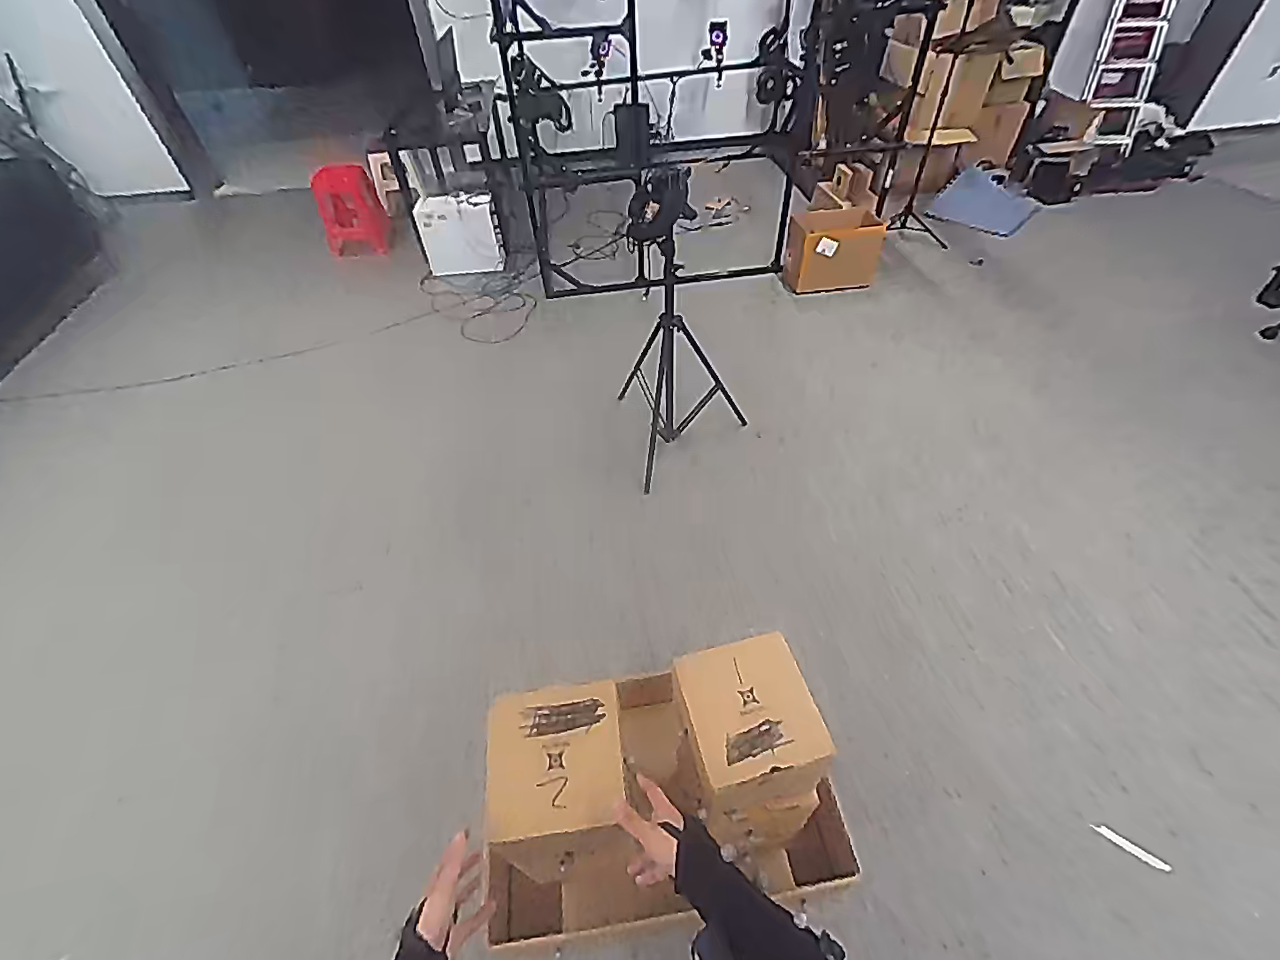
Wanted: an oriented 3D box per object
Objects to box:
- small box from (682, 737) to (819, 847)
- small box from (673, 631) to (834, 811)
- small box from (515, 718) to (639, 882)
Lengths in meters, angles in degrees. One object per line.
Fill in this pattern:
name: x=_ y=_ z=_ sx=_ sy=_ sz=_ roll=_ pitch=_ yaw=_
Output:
small box: x=0.166 y=0.468 z=0.883 sx=0.168 sy=0.176 sz=0.179 roll=-10 pitch=48 yaw=-5
small box: x=0.149 y=0.349 z=0.771 sx=0.168 sy=0.176 sz=0.179 roll=-12 pitch=47 yaw=-7
small box: x=-0.097 y=0.510 z=0.862 sx=0.168 sy=0.176 sz=0.179 roll=-8 pitch=46 yaw=-2
